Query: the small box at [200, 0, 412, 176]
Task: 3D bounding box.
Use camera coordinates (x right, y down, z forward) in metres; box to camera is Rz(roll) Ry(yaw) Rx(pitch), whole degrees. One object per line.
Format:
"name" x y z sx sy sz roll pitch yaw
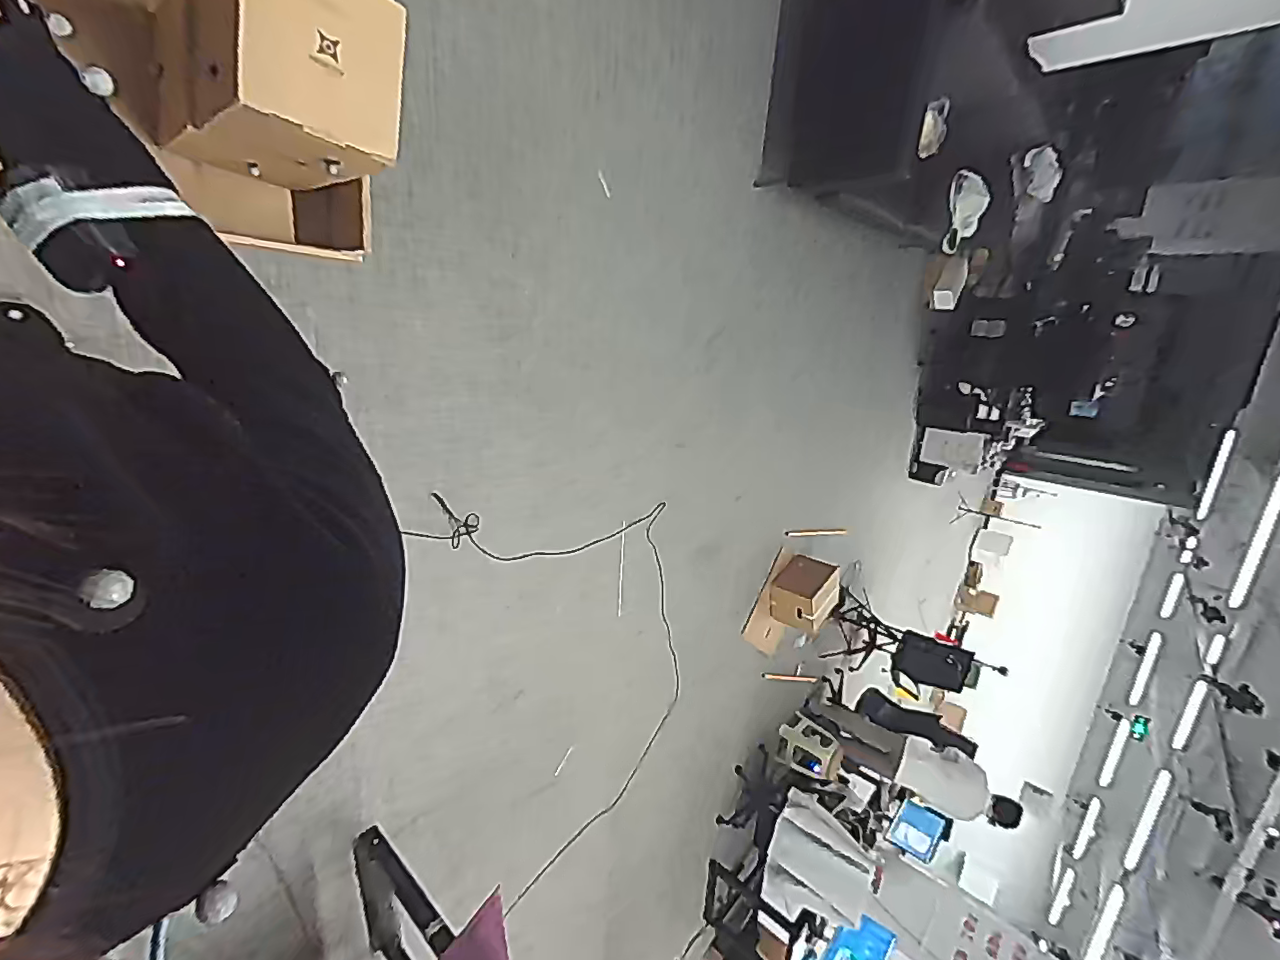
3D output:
"small box" -0.393 -0.484 0.635 0.168 0.176 0.179 -3 104 -50
